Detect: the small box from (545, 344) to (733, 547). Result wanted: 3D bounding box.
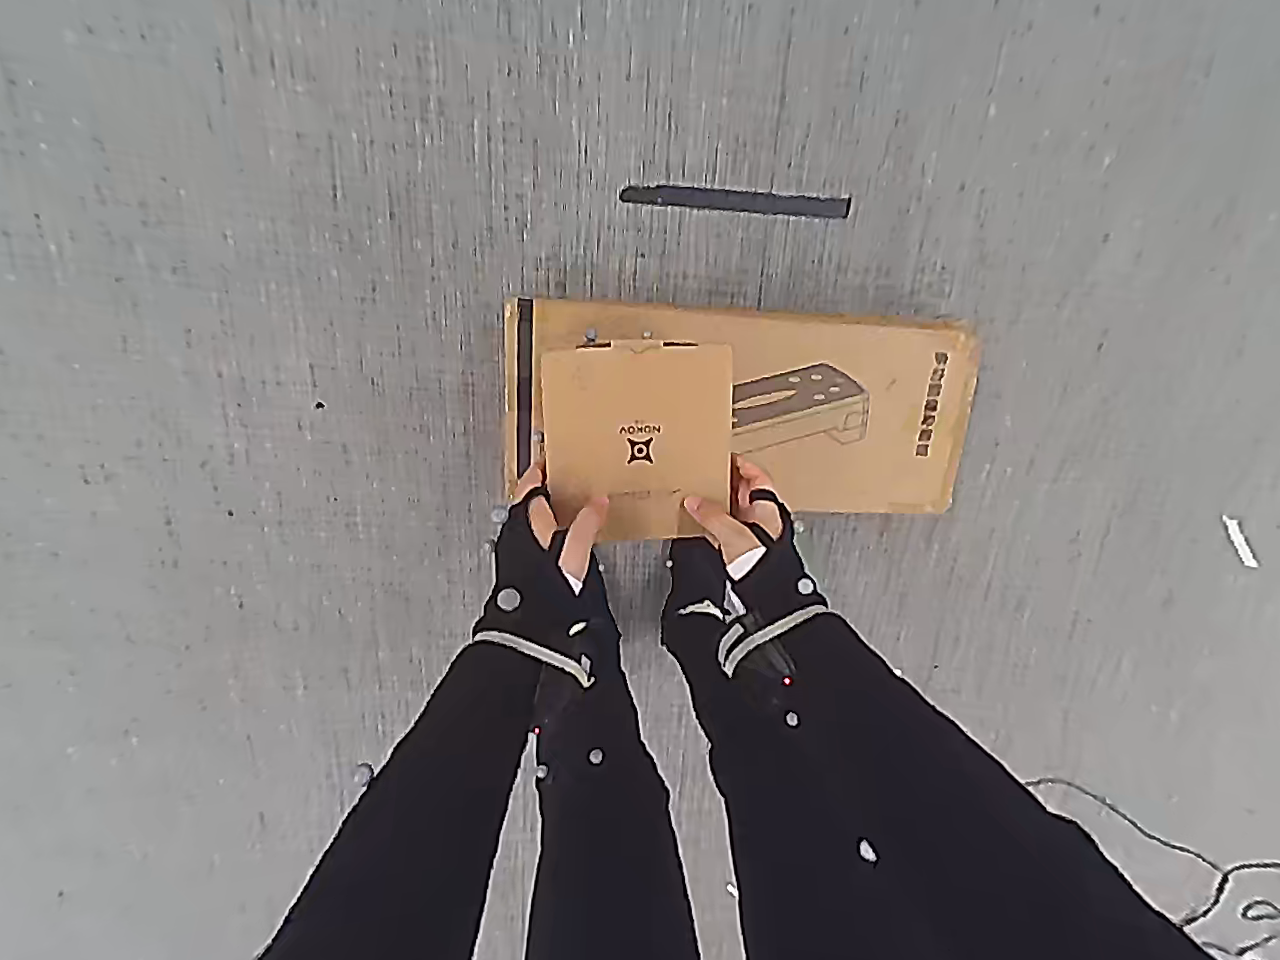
[{"bbox_3d":[-0.009,-0.047,0.552,0.168,0.176,0.179,-3,105,-6],"label":"small box"}]
